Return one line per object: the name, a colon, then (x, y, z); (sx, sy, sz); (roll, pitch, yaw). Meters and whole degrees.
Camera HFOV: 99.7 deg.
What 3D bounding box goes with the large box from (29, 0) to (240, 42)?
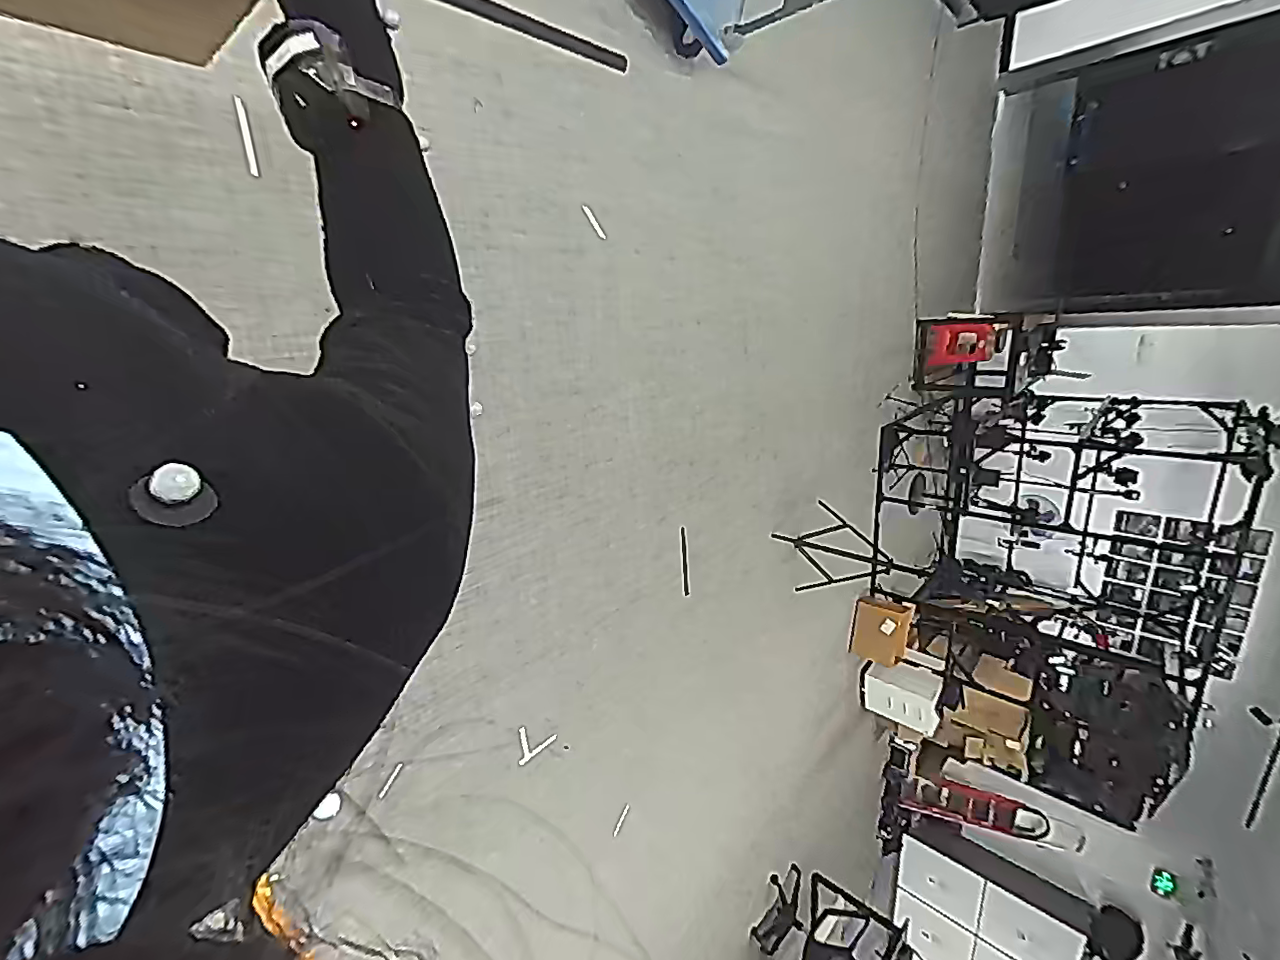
large box: (-0.496, -0.514, 0.298); (0.408, 0.320, 0.320); (-14, 118, -41)
